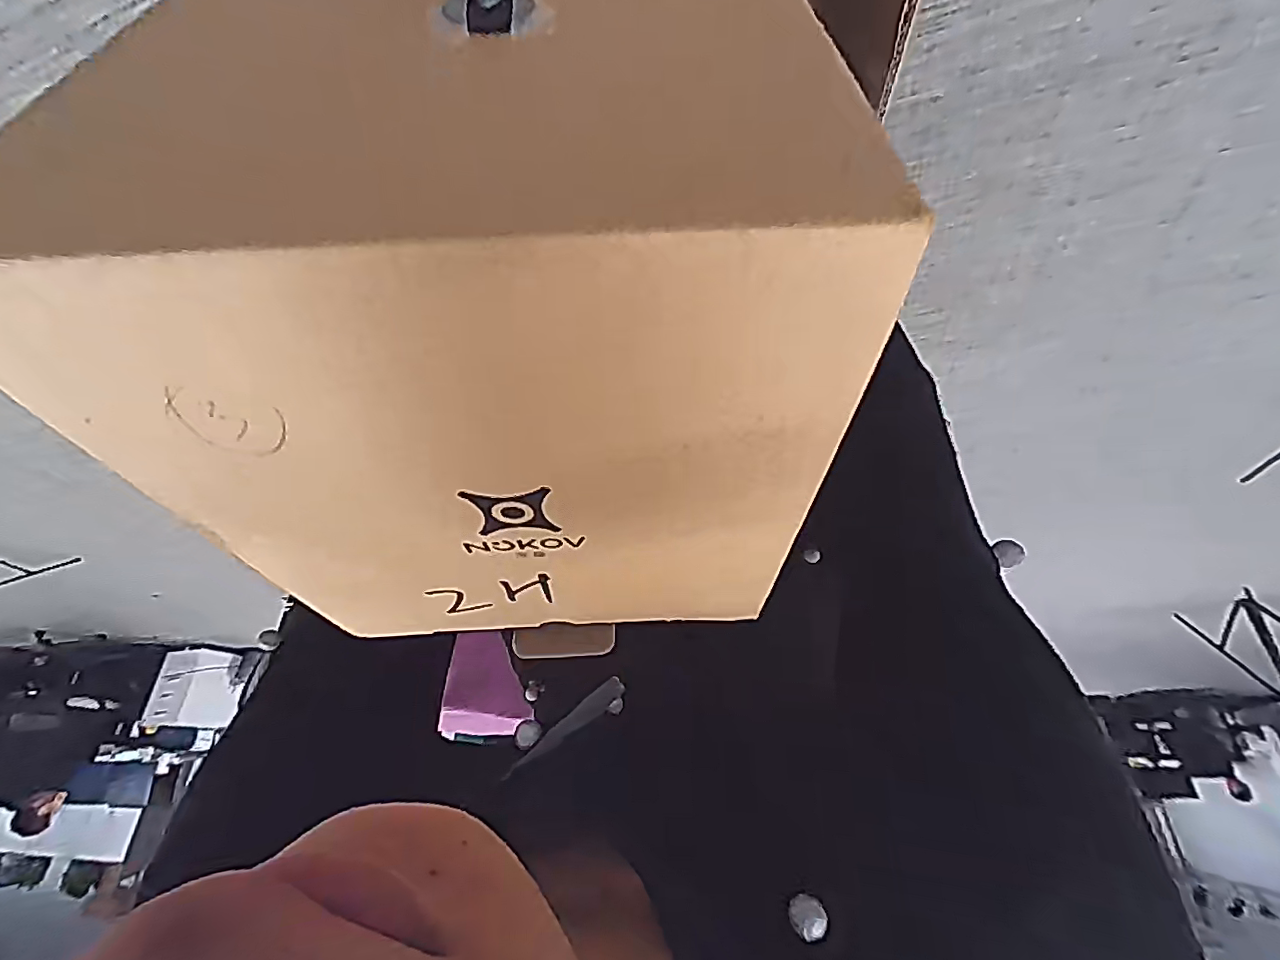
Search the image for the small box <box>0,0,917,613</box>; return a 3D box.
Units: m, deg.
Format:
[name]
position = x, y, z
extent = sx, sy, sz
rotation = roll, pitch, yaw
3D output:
[small box]
position = -0.041, -0.065, 0.193
extent = 0.168, 0.176, 0.179
rotation = -2, 148, -1
